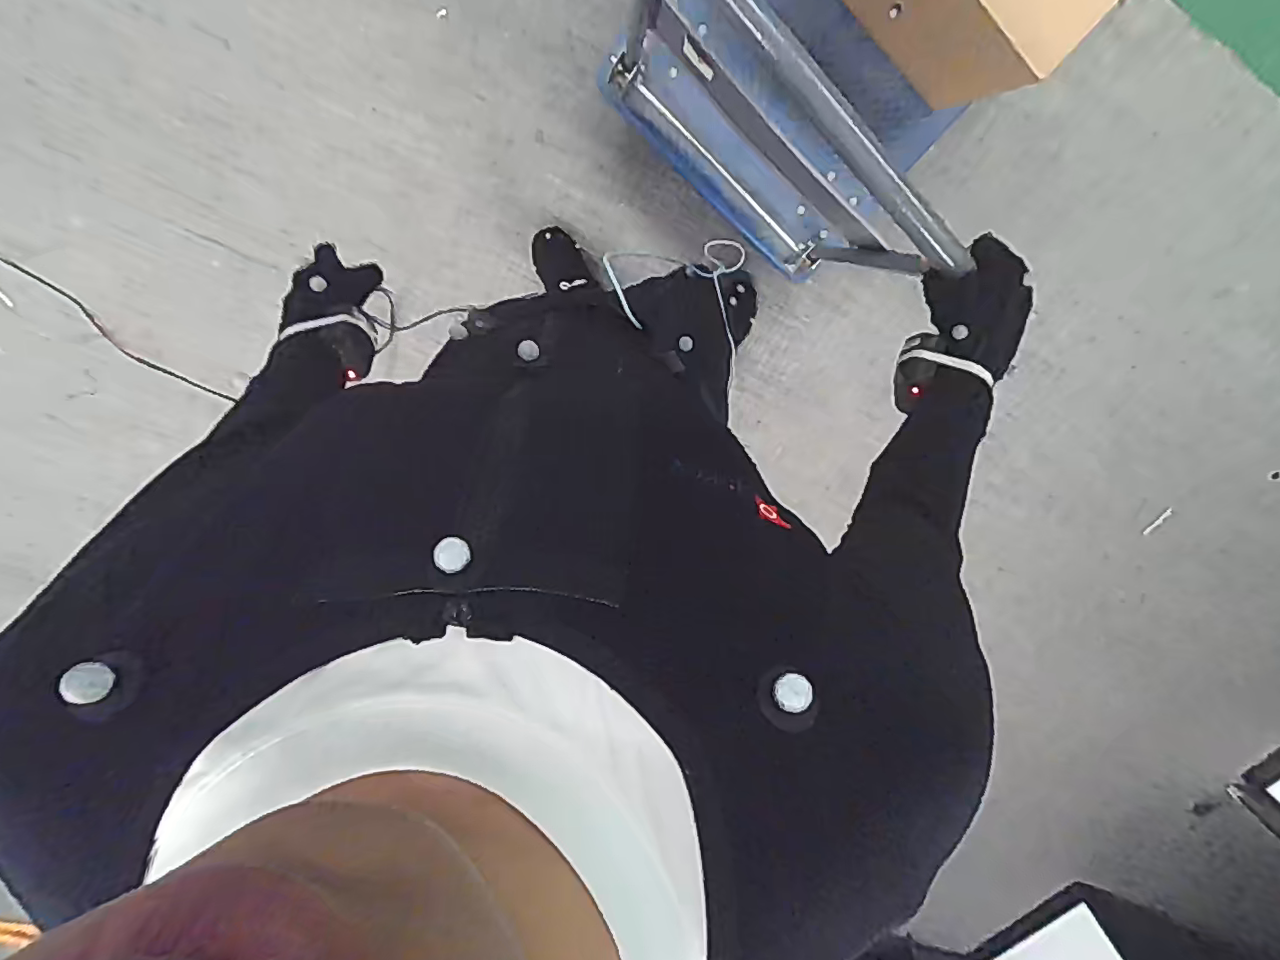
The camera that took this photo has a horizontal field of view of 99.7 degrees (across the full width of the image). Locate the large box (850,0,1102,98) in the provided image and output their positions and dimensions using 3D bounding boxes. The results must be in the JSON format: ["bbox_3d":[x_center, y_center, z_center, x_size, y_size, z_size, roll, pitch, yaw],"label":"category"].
[{"bbox_3d":[0.500,-0.859,0.784,0.408,0.320,0.320,35,112,-17],"label":"large box"}]
